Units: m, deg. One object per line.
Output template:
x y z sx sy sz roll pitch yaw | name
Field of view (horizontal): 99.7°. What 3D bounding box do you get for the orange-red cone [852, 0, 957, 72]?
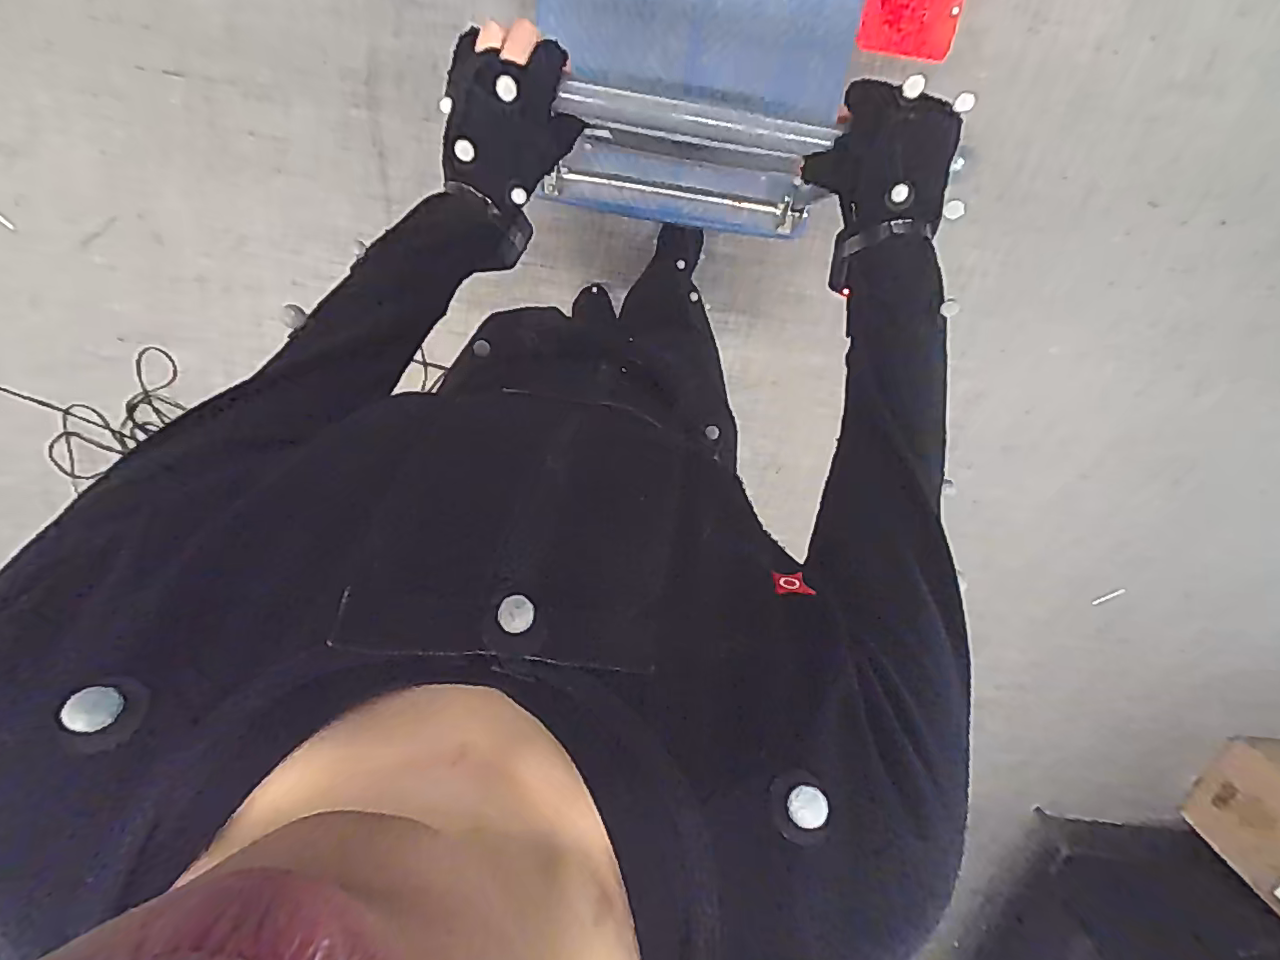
0.556 -0.913 0.969 0.199 0.360 0.198 8 112 -3 | orange-red cone
